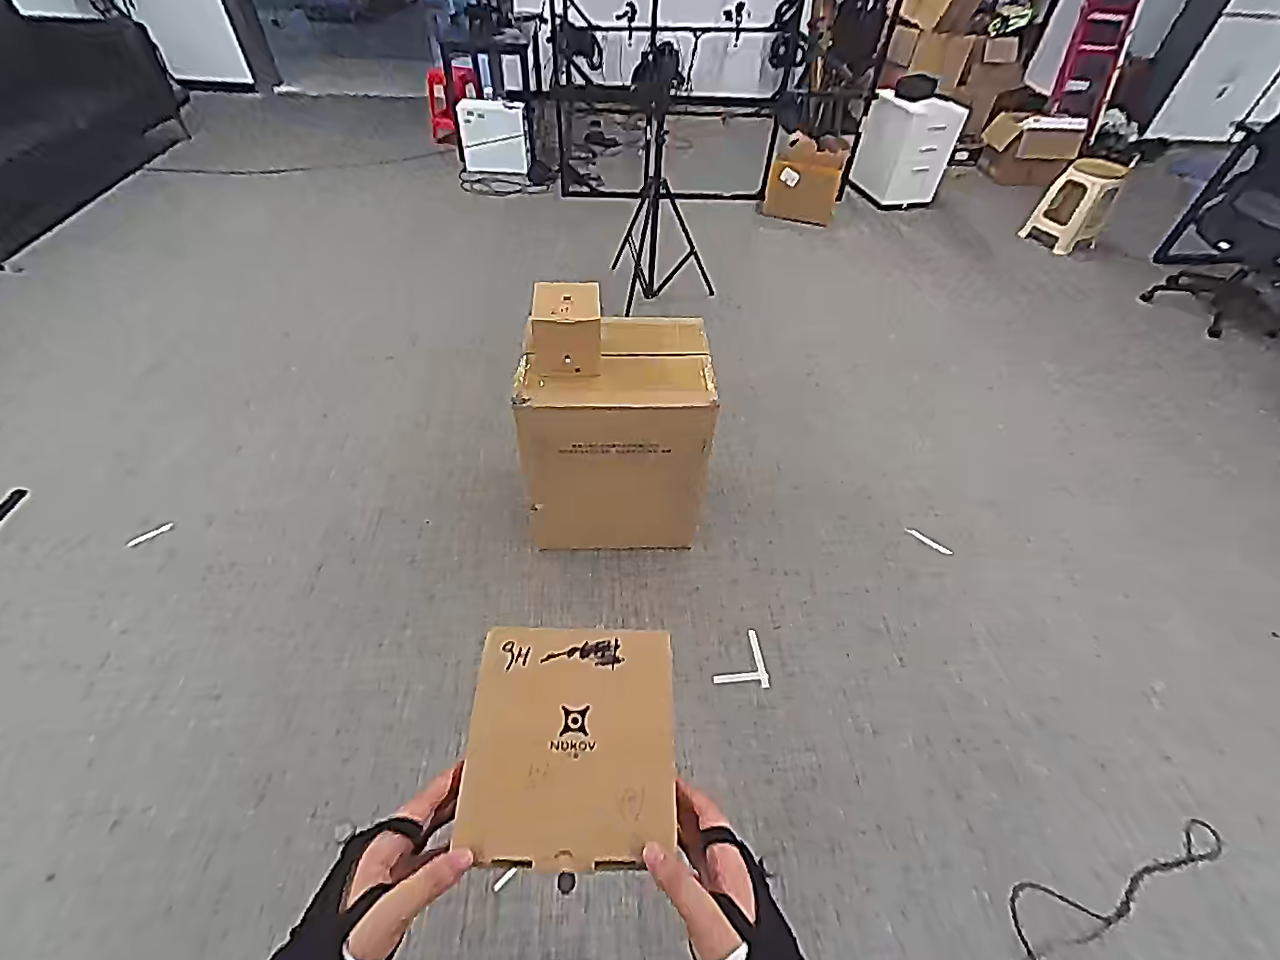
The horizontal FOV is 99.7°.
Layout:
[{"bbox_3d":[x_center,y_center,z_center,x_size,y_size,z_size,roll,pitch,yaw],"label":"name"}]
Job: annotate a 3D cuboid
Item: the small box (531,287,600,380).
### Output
[{"bbox_3d":[-0.190,-0.380,1.405,0.168,0.176,0.179,-2,49,-5],"label":"small box"}]
